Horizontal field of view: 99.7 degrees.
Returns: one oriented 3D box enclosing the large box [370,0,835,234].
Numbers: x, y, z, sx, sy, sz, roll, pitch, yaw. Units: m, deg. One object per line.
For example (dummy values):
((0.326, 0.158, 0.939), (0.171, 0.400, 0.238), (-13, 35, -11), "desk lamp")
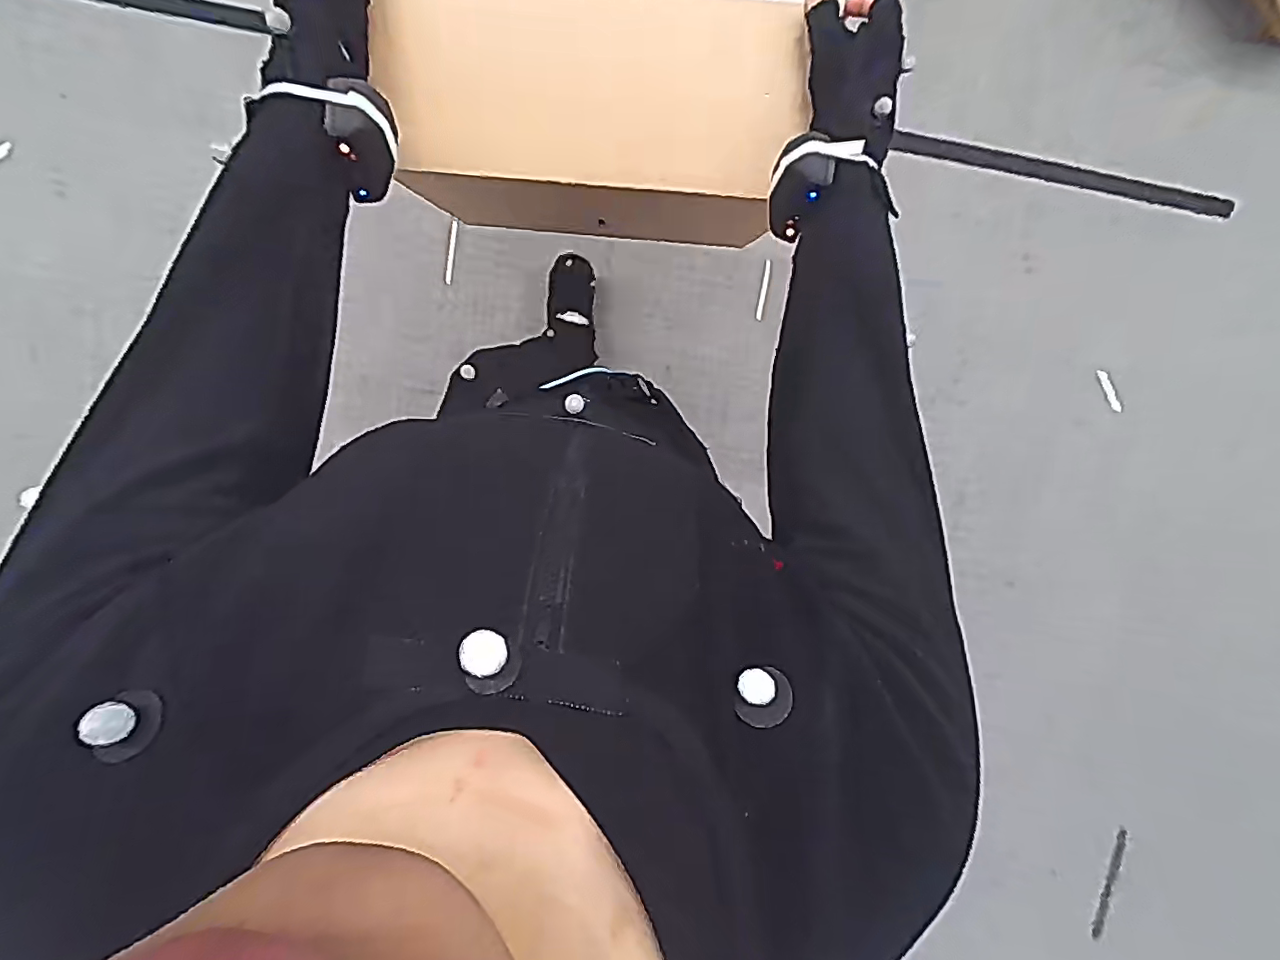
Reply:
((-0.030, -0.469, 0.598), (0.408, 0.320, 0.320), (4, 105, -2), "large box")
